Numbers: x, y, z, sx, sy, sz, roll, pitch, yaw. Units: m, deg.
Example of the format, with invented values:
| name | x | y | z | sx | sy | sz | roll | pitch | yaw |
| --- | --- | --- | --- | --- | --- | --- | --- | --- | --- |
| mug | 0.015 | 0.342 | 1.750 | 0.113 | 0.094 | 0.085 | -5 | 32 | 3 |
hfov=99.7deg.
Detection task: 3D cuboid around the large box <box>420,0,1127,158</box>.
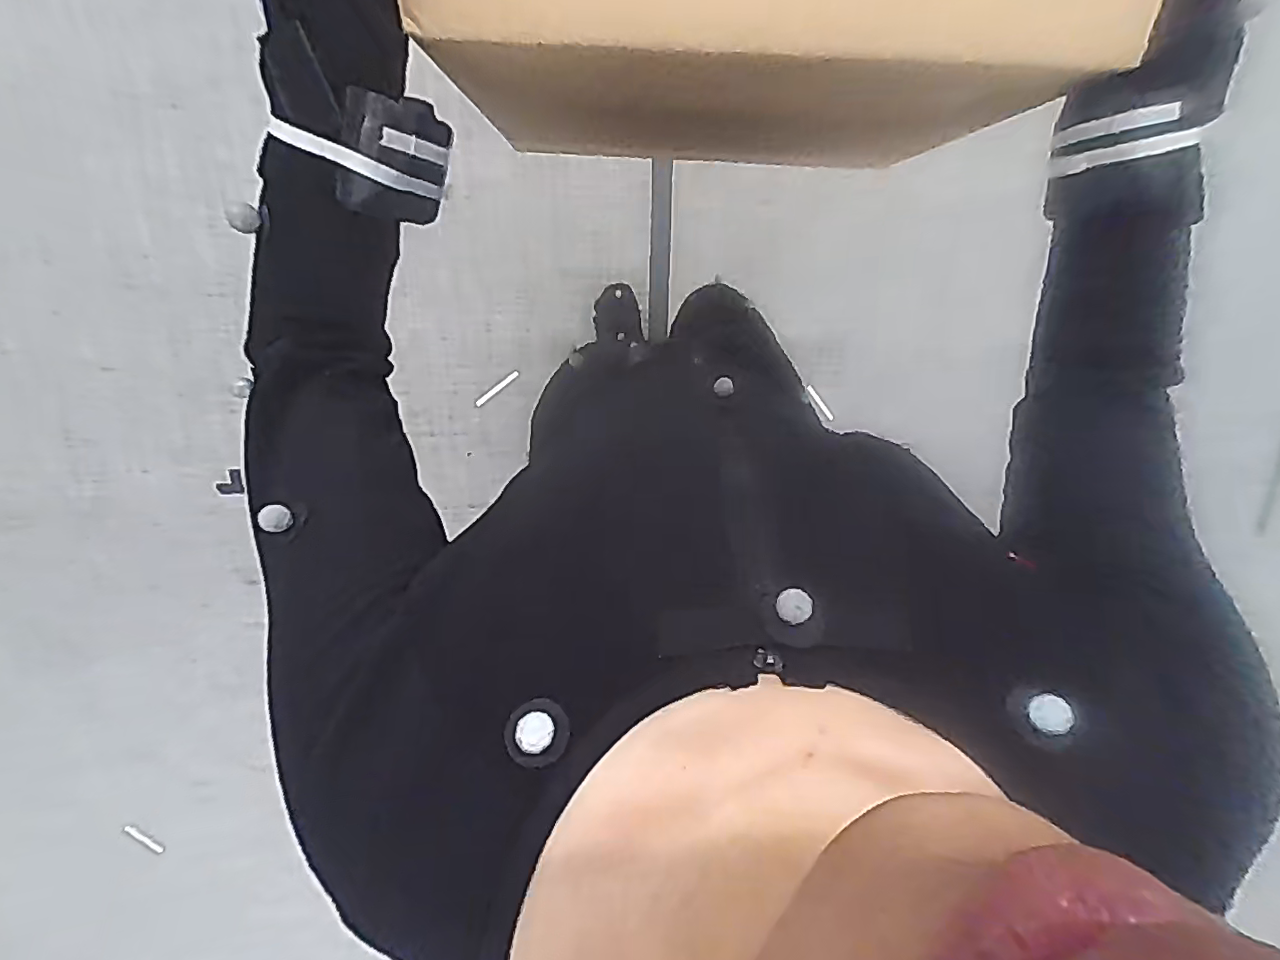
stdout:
| name | x | y | z | sx | sy | sz | roll | pitch | yaw |
| --- | --- | --- | --- | --- | --- | --- | --- | --- | --- |
| large box | 0.072 | -0.443 | 0.392 | 0.408 | 0.320 | 0.320 | 1 | 111 | -2 |
